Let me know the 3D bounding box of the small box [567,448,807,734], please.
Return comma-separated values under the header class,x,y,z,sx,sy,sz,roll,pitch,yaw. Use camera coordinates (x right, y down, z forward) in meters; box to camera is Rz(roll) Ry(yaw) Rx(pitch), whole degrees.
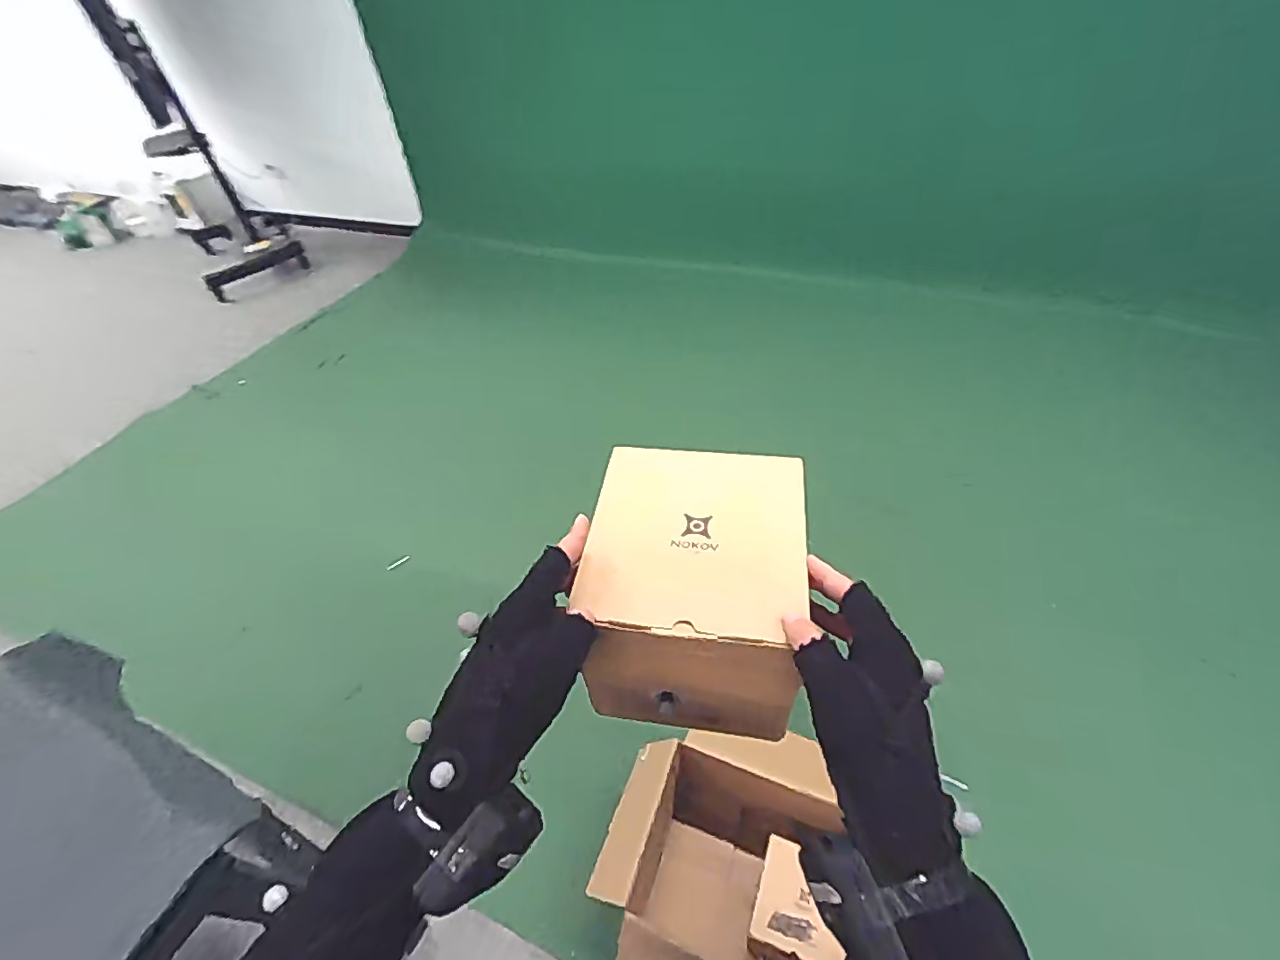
class,x,y,z,sx,sy,sz,roll,pitch,yaw
small box,0.047,0.096,0.474,0.168,0.176,0.179,4,48,9
